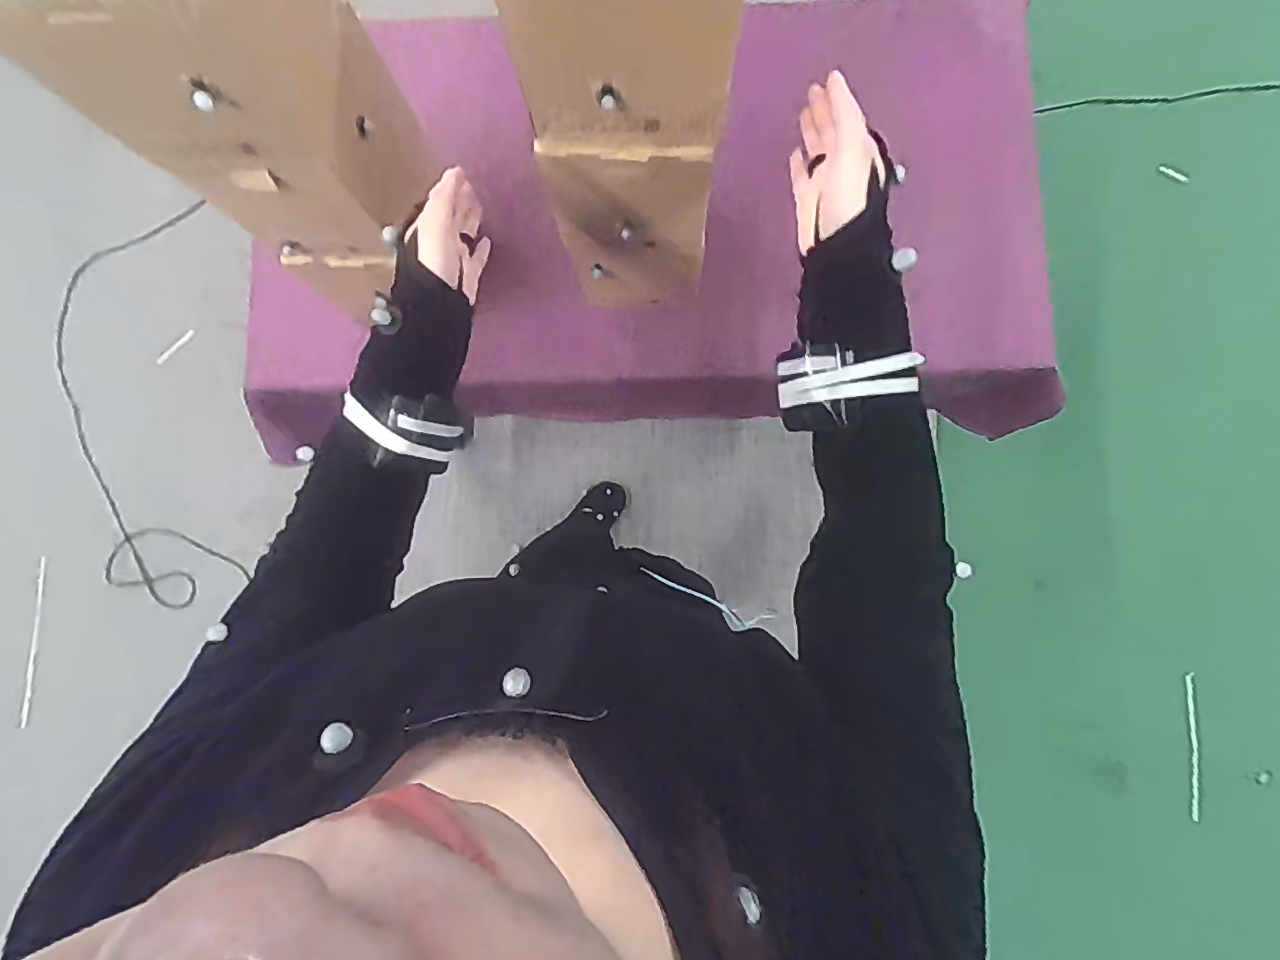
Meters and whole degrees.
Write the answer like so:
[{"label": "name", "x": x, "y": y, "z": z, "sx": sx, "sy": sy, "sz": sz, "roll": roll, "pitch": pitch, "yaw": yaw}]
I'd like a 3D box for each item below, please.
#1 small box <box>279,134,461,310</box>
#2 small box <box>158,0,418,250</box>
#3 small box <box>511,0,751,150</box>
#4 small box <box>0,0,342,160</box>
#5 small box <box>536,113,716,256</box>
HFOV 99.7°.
[{"label": "small box", "x": -0.357, "y": -0.348, "z": 0.745, "sx": 0.168, "sy": 0.176, "sz": 0.179, "roll": 2, "pitch": 86, "yaw": 0}, {"label": "small box", "x": -0.356, "y": -0.370, "z": 0.582, "sx": 0.168, "sy": 0.176, "sz": 0.179, "roll": 3, "pitch": 84, "yaw": 1}, {"label": "small box", "x": -0.006, "y": -0.394, "z": 0.415, "sx": 0.168, "sy": 0.176, "sz": 0.179, "roll": 2, "pitch": 85, "yaw": 1}, {"label": "small box", "x": -0.358, "y": -0.380, "z": 0.419, "sx": 0.168, "sy": 0.176, "sz": 0.179, "roll": 1, "pitch": 85, "yaw": 0}, {"label": "small box", "x": -0.006, "y": -0.368, "z": 0.577, "sx": 0.168, "sy": 0.176, "sz": 0.179, "roll": 4, "pitch": 85, "yaw": 2}]
